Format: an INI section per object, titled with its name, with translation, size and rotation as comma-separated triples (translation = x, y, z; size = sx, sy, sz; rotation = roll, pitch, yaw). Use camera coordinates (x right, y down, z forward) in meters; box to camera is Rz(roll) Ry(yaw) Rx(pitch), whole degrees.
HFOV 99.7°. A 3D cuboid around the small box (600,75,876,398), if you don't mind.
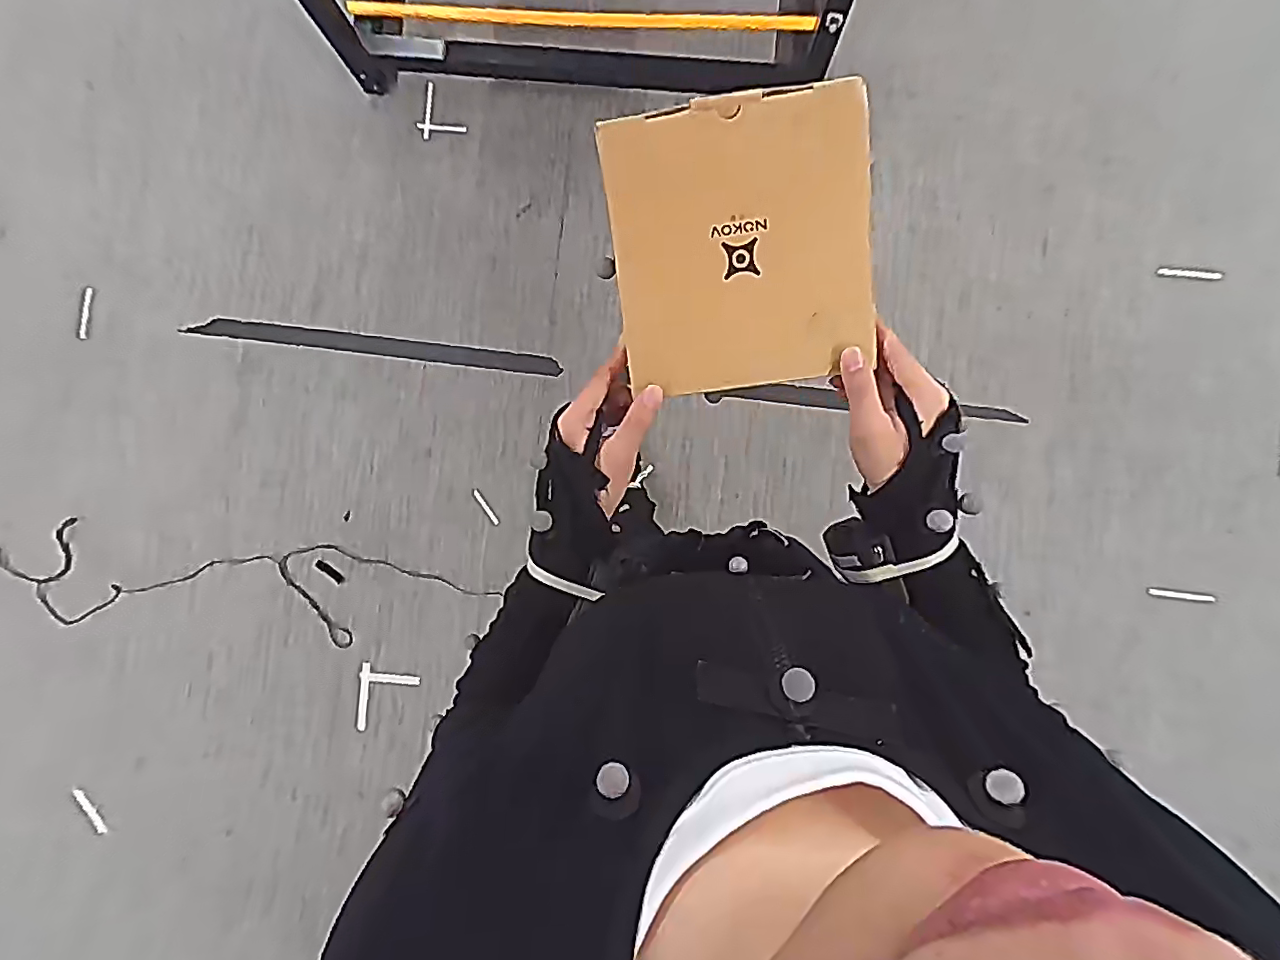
[small box]
translation = 0.072, -0.168, 0.426
size = 0.168, 0.176, 0.179
rotation = -7, 102, 6
